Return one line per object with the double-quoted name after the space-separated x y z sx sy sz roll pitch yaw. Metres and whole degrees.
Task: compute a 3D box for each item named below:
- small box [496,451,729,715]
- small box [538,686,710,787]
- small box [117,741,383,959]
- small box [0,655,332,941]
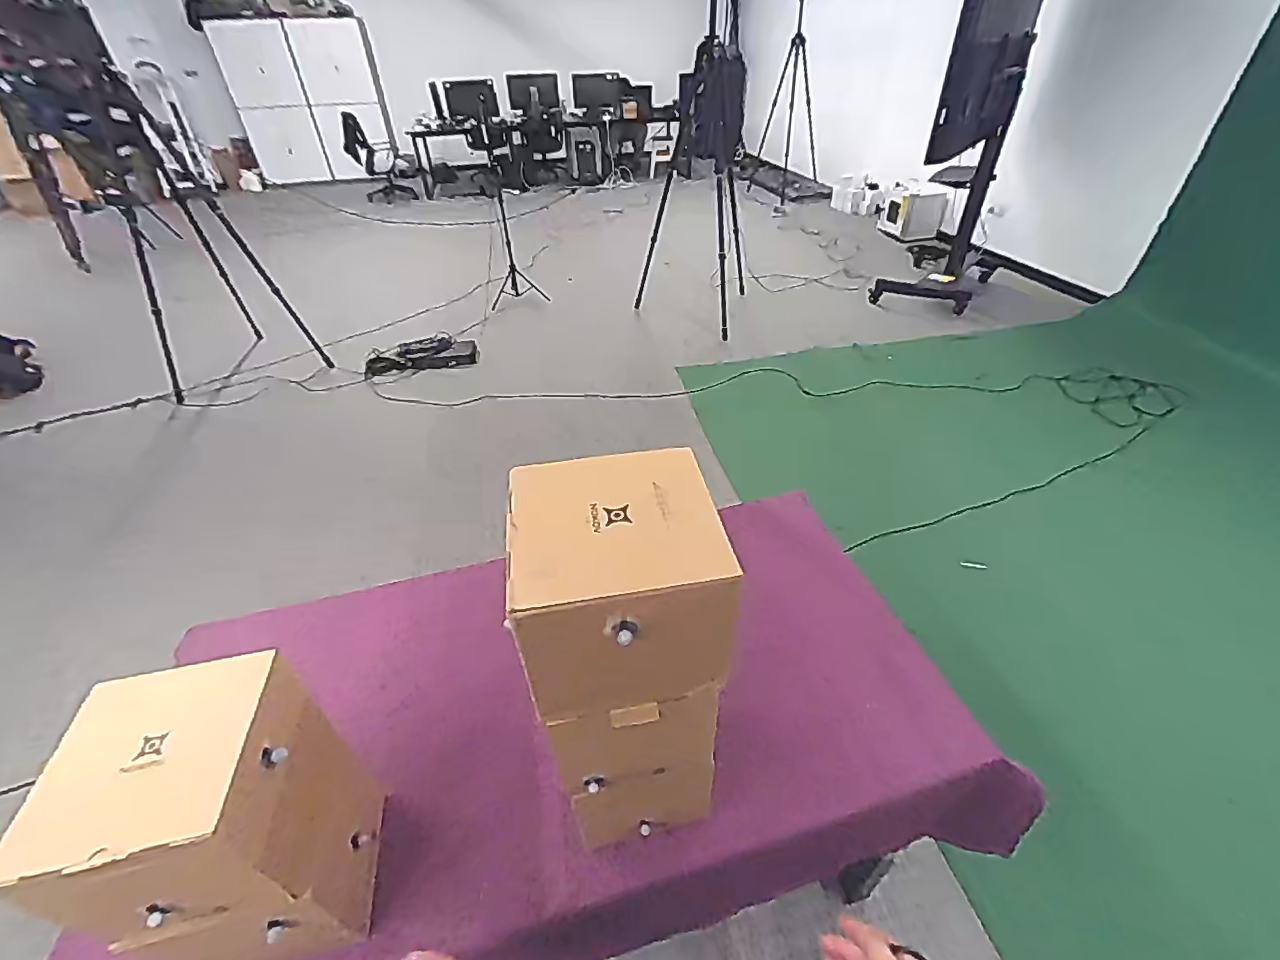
-0.025 0.096 0.504 0.179 0.176 0.168 -7 41 -6 "small box"
-0.022 0.219 0.611 0.168 0.176 0.179 -9 38 -6 "small box"
-0.419 0.439 0.627 0.179 0.176 0.168 -10 39 -9 "small box"
-0.430 0.307 0.532 0.168 0.176 0.179 -10 40 -9 "small box"
